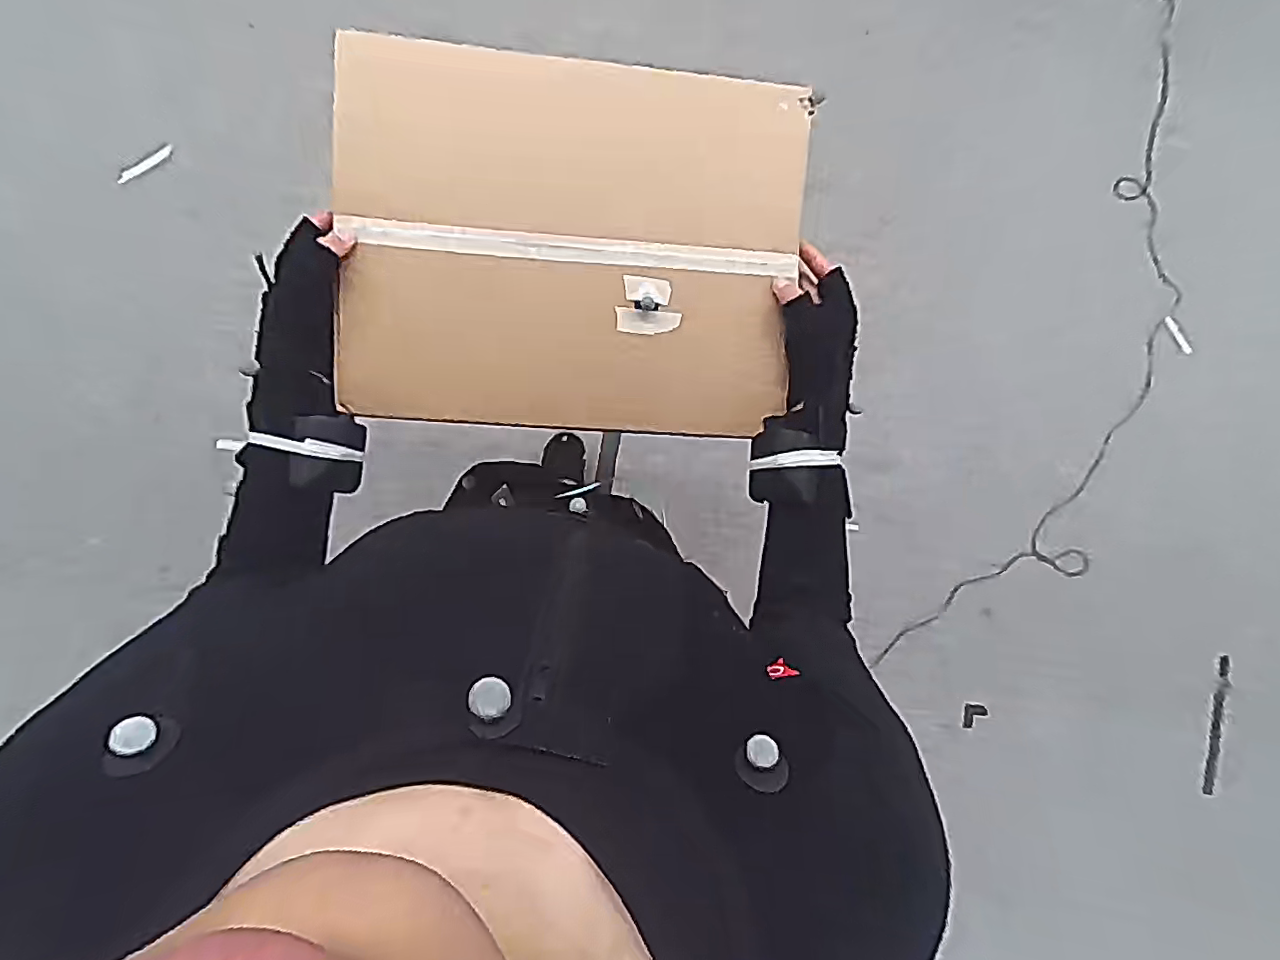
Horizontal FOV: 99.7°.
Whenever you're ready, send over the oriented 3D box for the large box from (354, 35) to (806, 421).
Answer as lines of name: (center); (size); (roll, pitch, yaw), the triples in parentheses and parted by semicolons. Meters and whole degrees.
large box: (-0.068, -0.233, 0.637); (0.408, 0.320, 0.320); (3, 97, -6)
